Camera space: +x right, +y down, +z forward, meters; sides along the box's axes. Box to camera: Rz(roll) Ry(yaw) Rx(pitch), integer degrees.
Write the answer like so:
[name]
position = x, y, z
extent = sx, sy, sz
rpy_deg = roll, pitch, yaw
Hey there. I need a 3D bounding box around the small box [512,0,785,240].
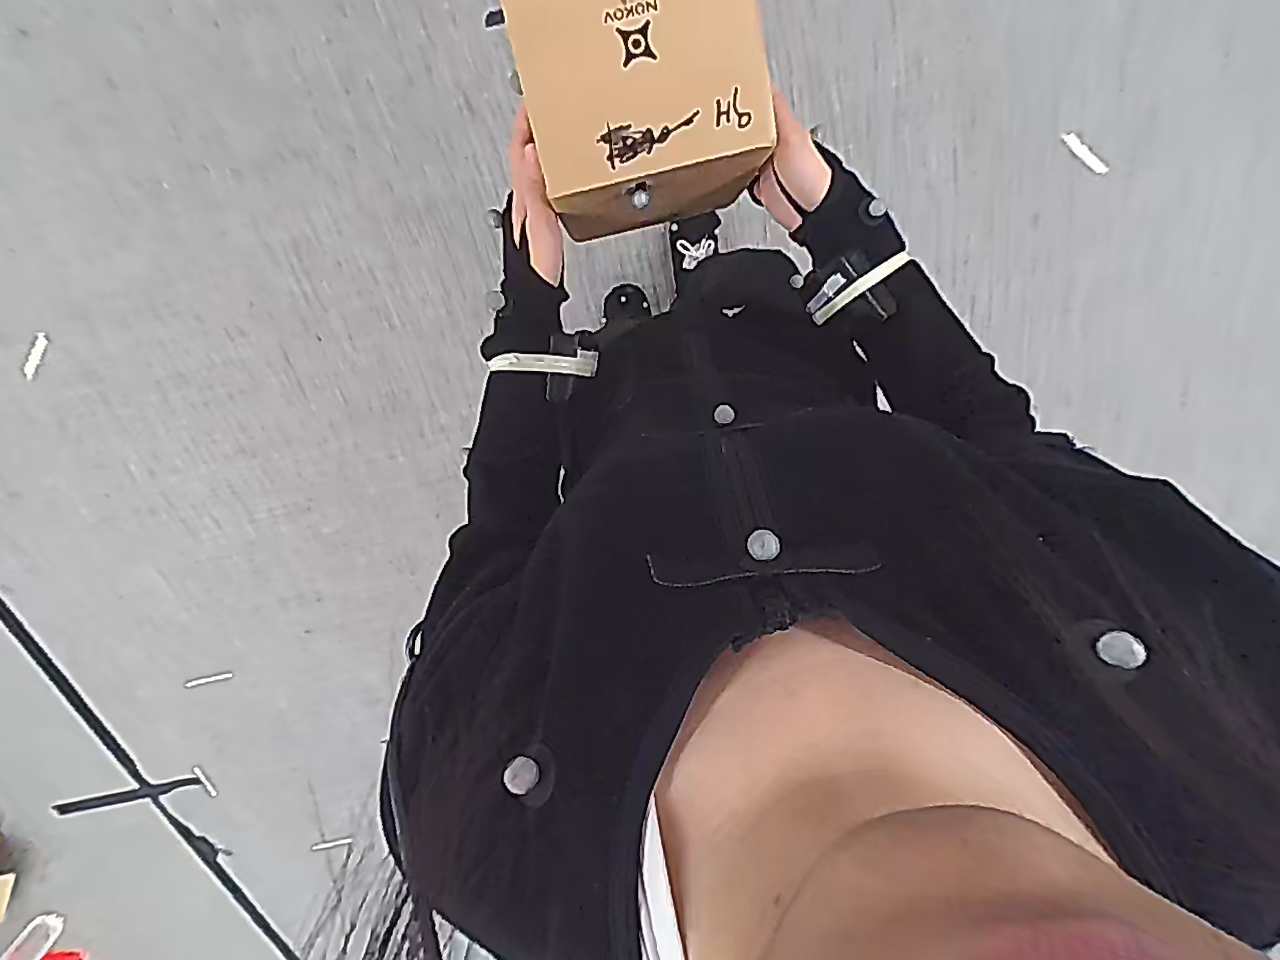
[small box]
position = 0.000, -0.315, 0.432
extent = 0.168, 0.176, 0.179
rpy_deg = -13, 103, 2
